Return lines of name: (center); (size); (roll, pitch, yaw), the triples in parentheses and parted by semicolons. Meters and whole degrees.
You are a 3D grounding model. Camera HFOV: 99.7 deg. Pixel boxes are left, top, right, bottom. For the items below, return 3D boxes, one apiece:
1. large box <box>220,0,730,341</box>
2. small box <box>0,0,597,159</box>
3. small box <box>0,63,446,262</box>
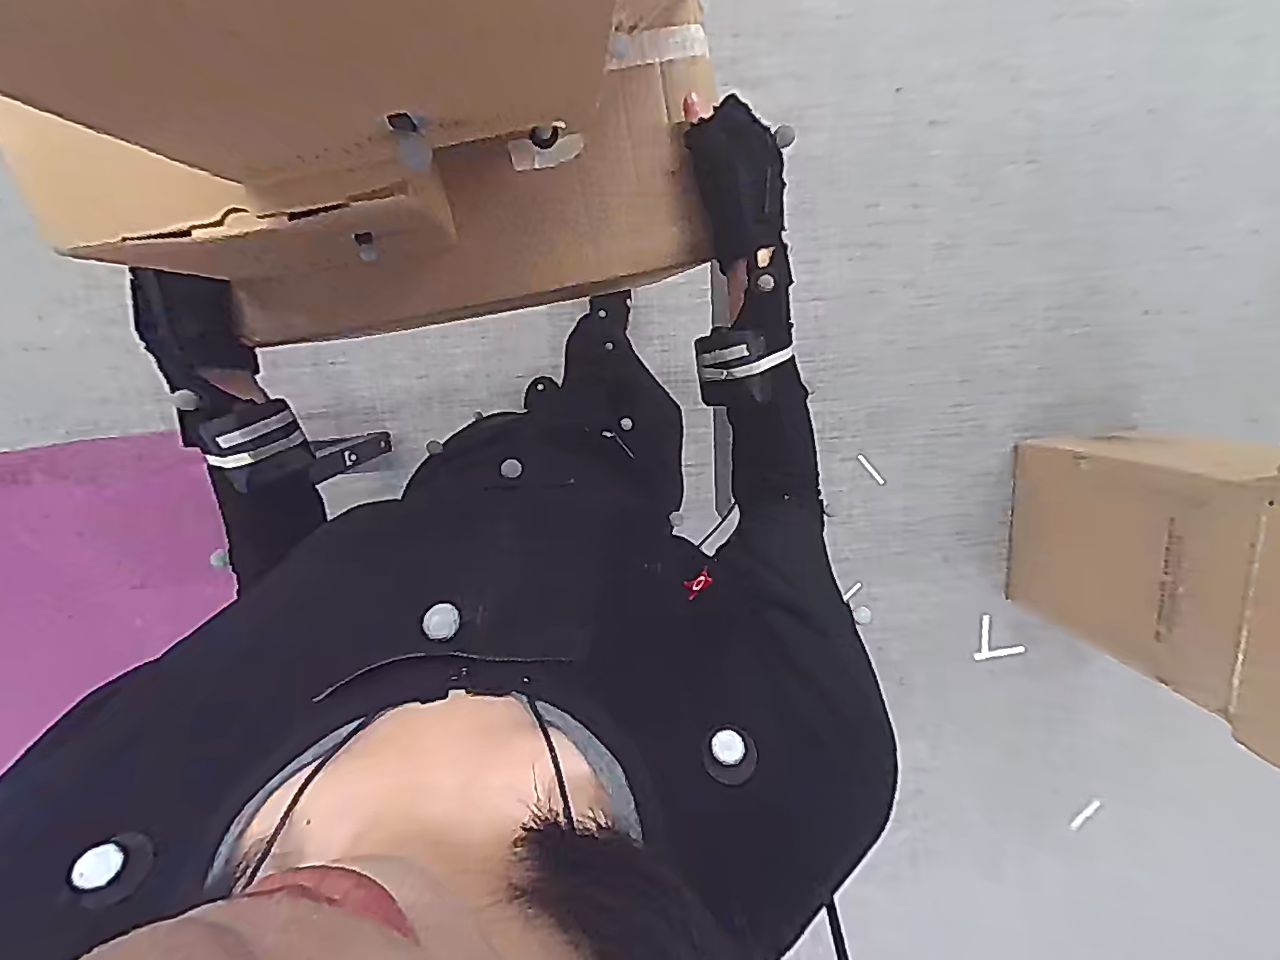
large box: (-0.169, -0.338, 0.536); (0.408, 0.320, 0.320); (-14, 109, -6)
small box: (-0.110, -0.215, 0.152); (0.179, 0.176, 0.168); (-14, 108, -4)
small box: (-0.223, -0.229, 0.303); (0.168, 0.176, 0.179); (-14, 107, -7)
